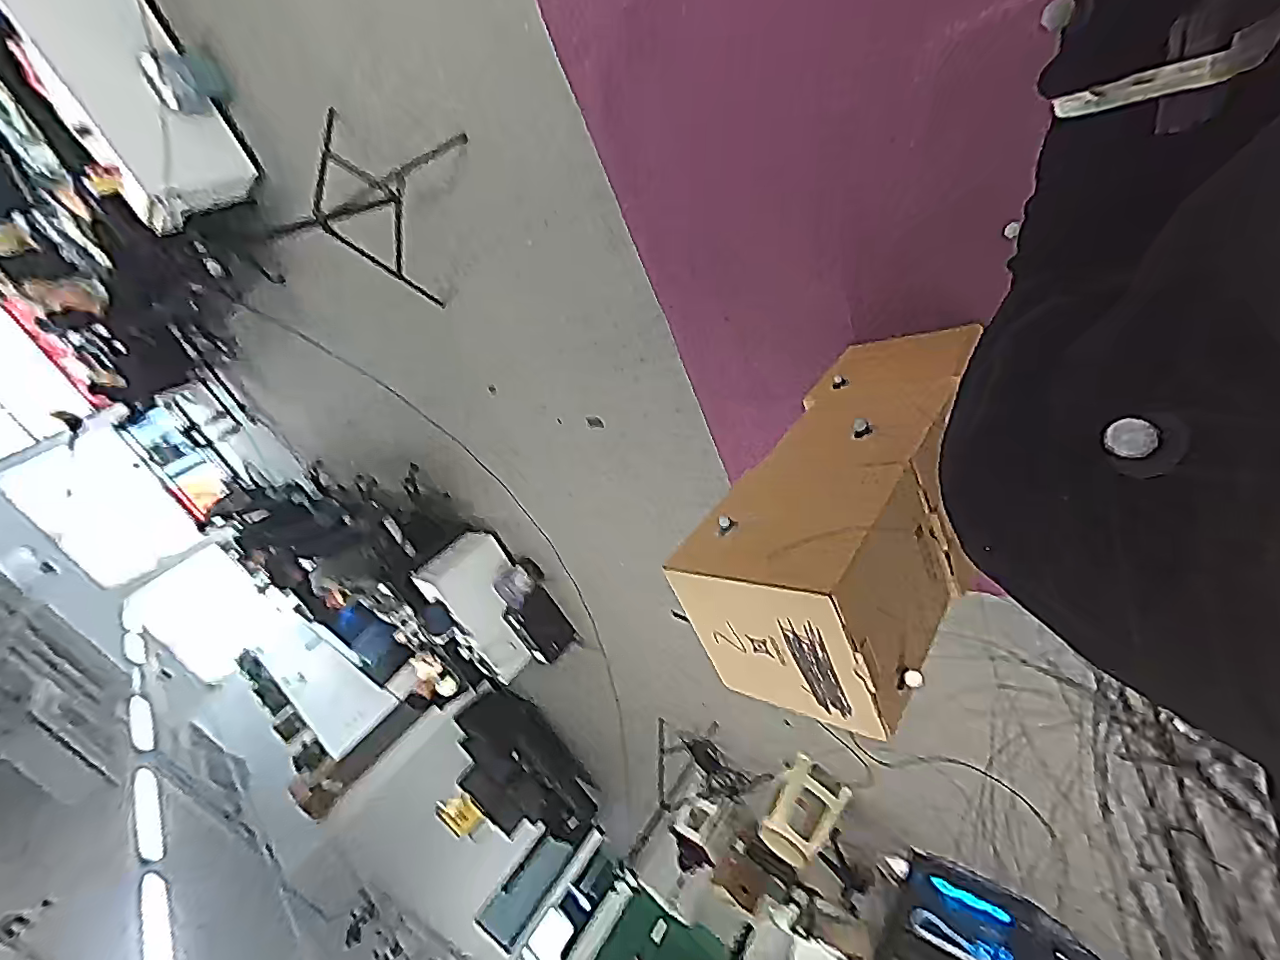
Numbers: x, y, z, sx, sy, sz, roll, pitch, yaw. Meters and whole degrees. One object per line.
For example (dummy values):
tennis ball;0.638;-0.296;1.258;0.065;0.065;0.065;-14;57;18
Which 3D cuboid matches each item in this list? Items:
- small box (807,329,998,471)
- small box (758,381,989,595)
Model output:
small box;0.356;-0.084;0.720;0.179;0.176;0.168;0;125;47
small box;0.271;0.006;0.611;0.179;0.176;0.168;-6;120;49
